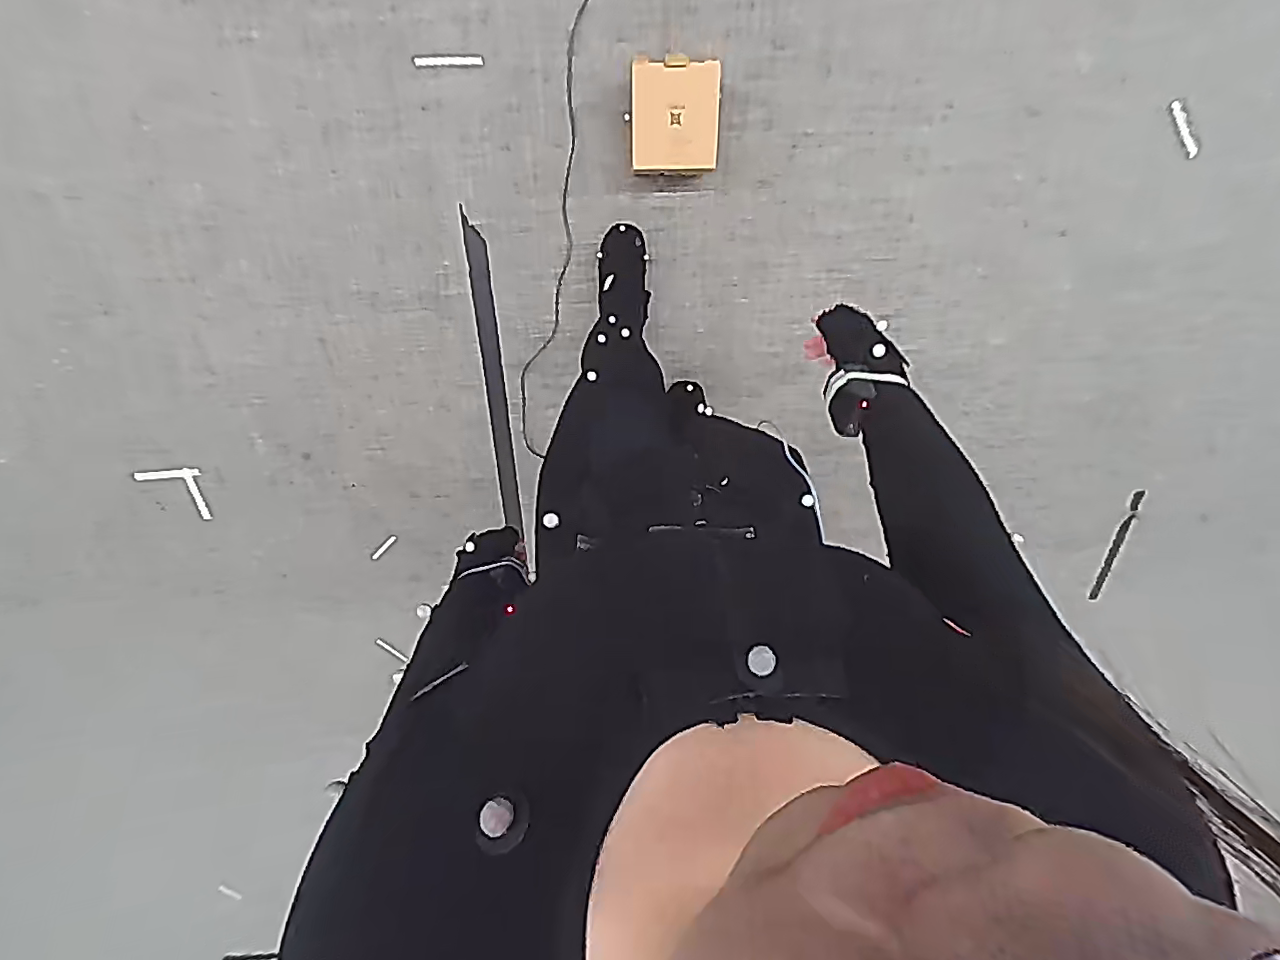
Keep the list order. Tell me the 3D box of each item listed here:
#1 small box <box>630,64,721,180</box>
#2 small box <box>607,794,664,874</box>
[{"bbox_3d":[0.063,-0.715,1.097,0.168,0.176,0.179,-1,116,-2],"label":"small box"},{"bbox_3d":[-0.019,1.170,1.792,0.179,0.176,0.168,1,116,-4],"label":"small box"}]
